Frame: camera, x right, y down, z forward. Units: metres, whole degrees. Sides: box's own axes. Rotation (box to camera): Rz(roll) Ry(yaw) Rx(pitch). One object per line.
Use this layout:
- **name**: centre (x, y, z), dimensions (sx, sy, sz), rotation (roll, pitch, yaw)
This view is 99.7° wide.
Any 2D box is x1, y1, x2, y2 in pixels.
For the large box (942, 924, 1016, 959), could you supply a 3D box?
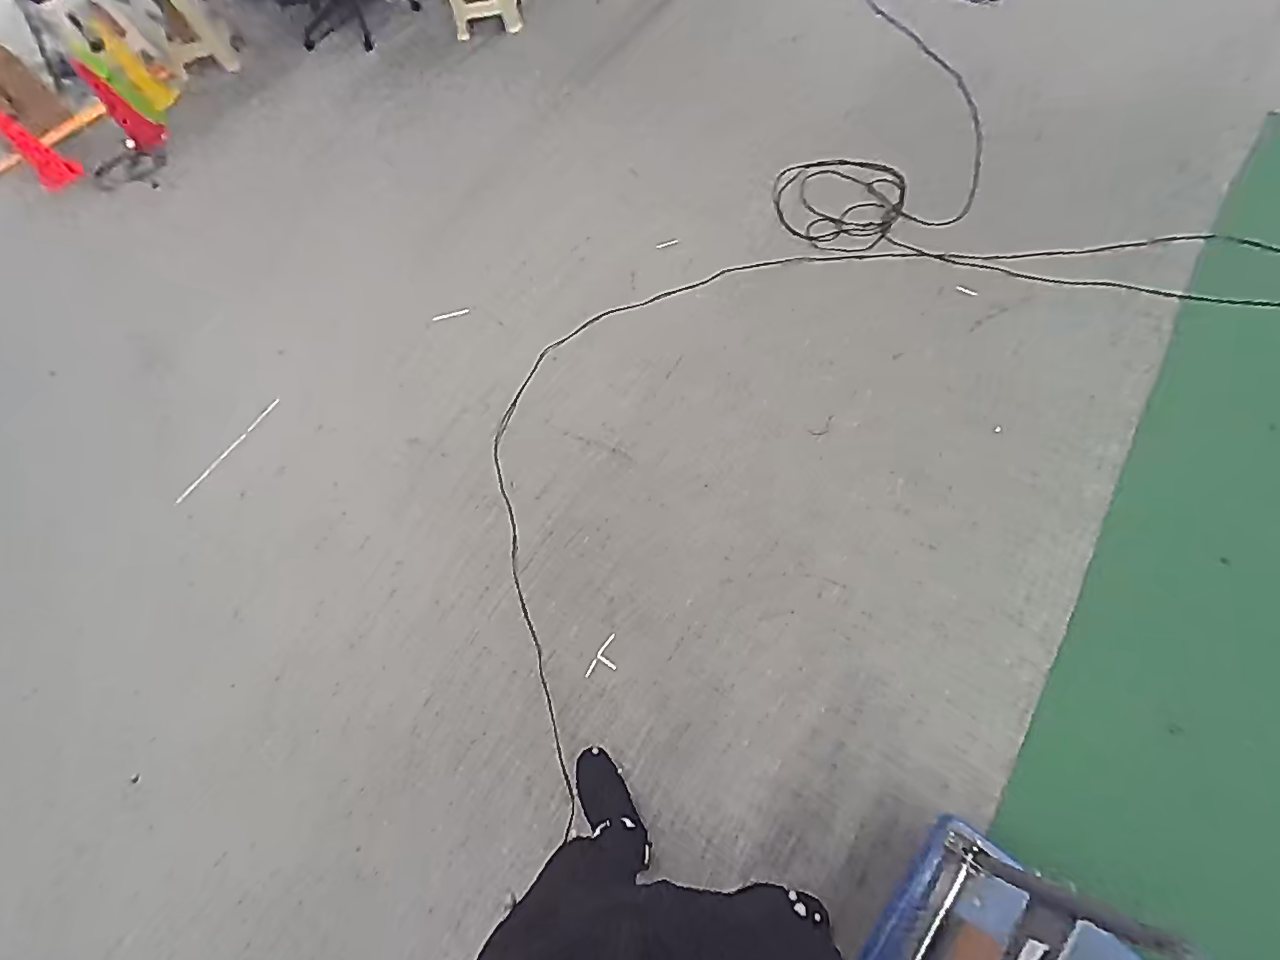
- **large box**: centre (0.676, 1.014, 0.820), dimensions (0.408, 0.320, 0.320), rotation (35, 74, 19)
